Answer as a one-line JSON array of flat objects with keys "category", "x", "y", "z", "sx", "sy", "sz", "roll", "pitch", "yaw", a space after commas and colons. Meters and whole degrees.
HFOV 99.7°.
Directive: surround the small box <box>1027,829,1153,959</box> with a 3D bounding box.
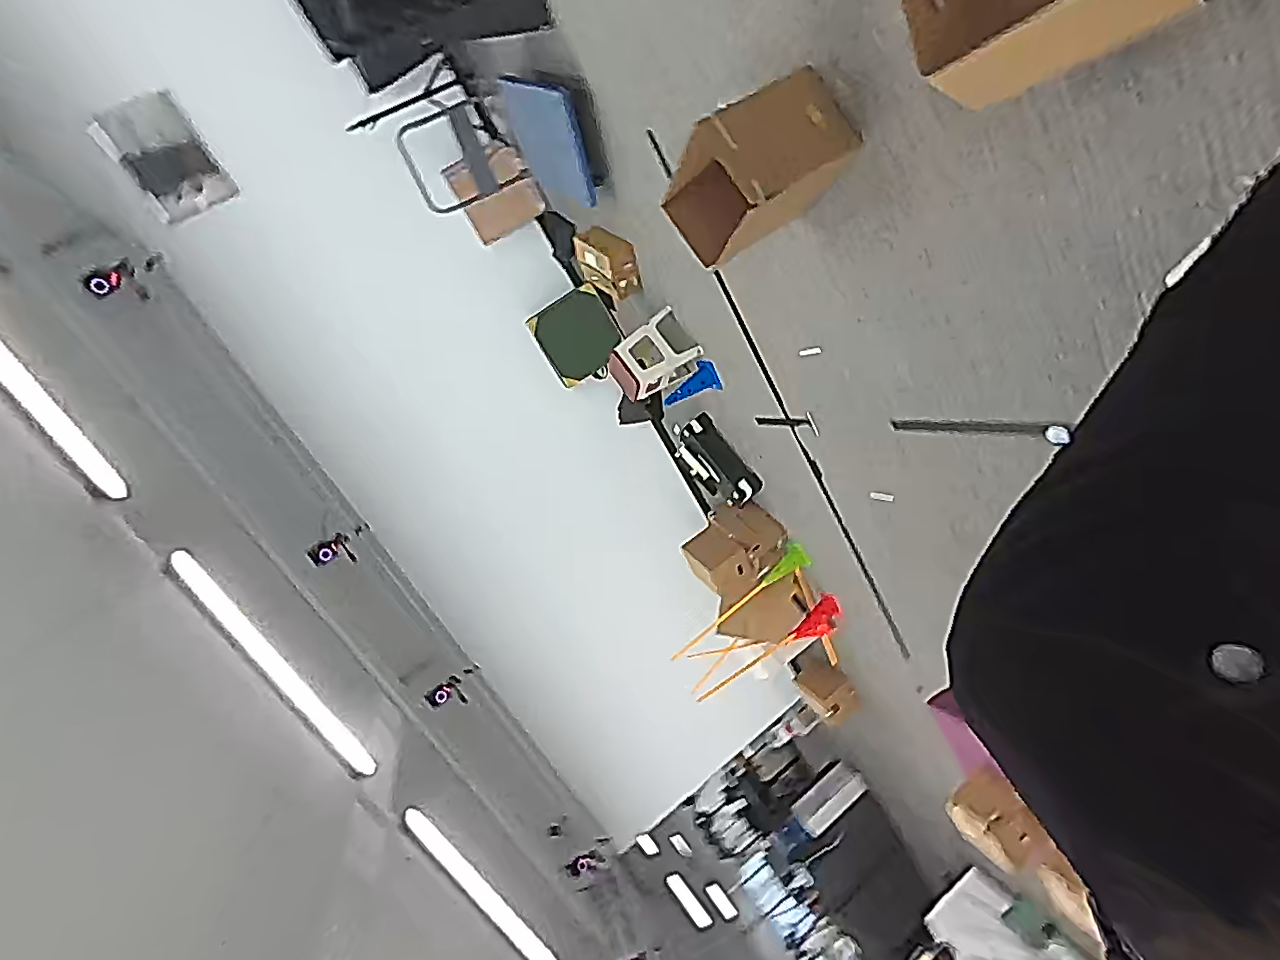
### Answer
[{"category": "small box", "x": 1.162, "y": 1.060, "z": 1.397, "sx": 0.179, "sy": 0.176, "sz": 0.168, "roll": 58, "pitch": 167, "yaw": -11}]
